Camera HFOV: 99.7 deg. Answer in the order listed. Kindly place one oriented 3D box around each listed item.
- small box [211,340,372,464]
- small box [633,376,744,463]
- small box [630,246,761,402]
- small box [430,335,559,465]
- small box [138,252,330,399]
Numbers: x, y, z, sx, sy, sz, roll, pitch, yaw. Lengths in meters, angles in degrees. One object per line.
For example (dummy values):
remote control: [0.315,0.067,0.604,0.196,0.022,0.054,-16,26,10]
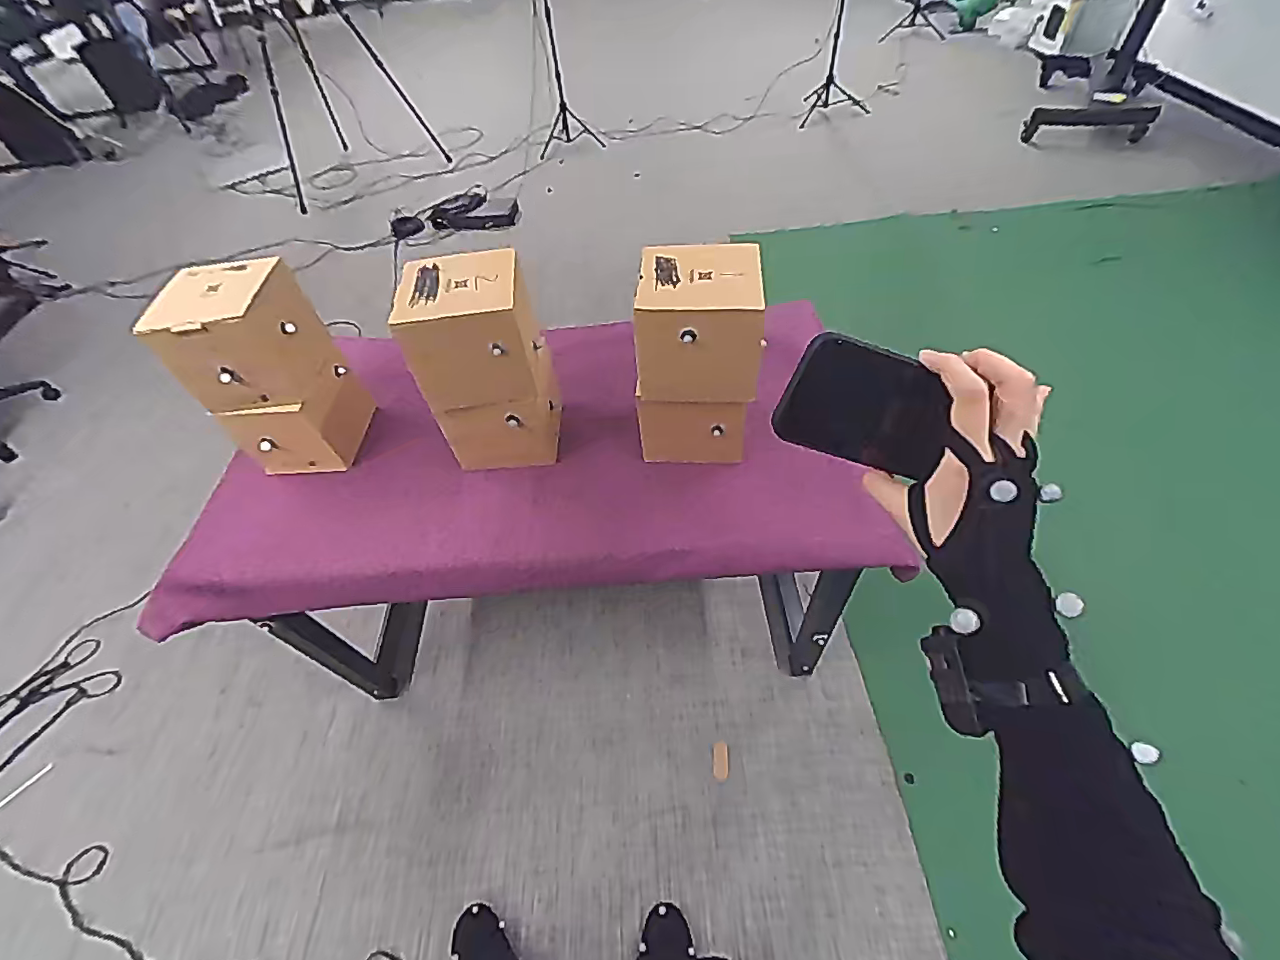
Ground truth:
small box: [-0.639,-0.141,1.023,0.168,0.176,0.179,-2,52,4]
small box: [0.090,-0.144,0.958,0.179,0.176,0.168,2,52,8]
small box: [0.086,-0.233,0.819,0.179,0.176,0.168,3,52,6]
small box: [-0.250,-0.142,0.985,0.179,0.176,0.168,-3,52,4]
small box: [-0.652,-0.248,0.898,0.168,0.176,0.179,-6,52,0]
